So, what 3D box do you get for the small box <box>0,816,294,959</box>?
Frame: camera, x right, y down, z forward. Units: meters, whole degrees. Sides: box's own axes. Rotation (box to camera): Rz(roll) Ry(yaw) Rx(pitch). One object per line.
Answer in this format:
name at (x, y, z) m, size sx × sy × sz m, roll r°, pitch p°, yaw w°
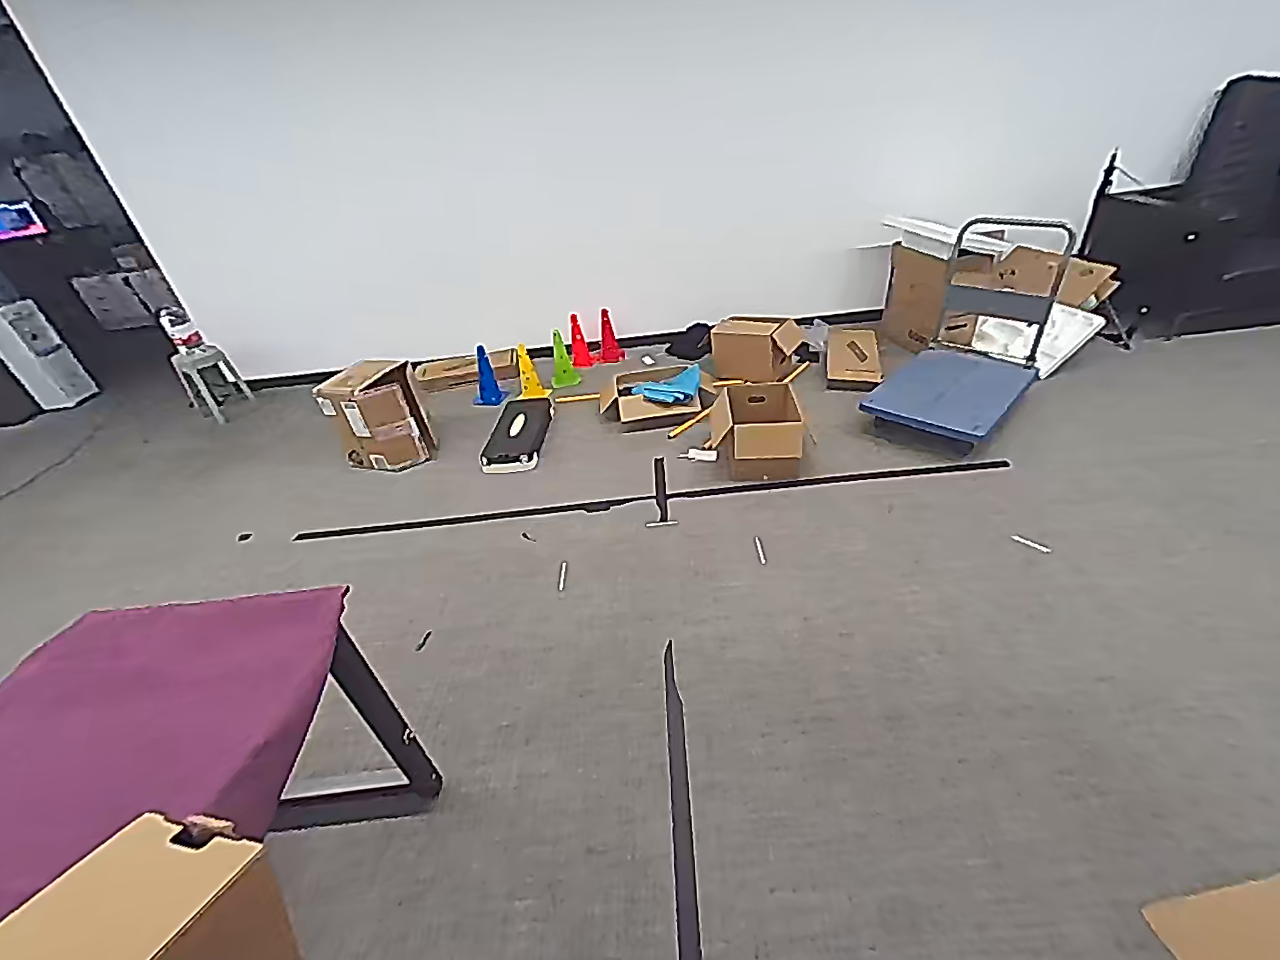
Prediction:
small box at (-0.451, 0.455, 0.485) m, size 0.168 × 0.176 × 0.179 m, roll 2°, pitch 16°, yaw 16°
